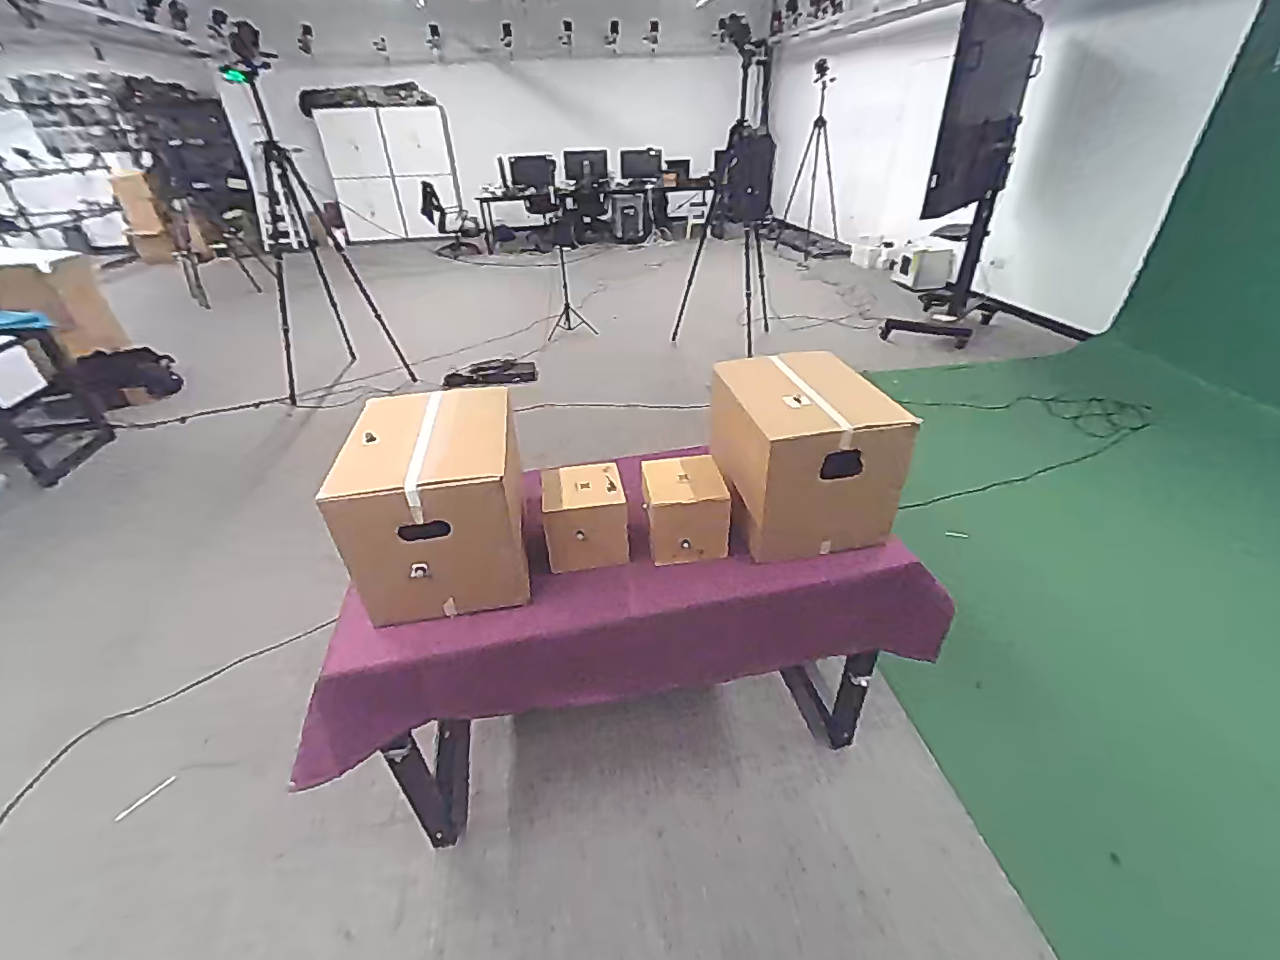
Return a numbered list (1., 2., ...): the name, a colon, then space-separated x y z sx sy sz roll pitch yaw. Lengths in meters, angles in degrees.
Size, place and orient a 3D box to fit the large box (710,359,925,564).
1. large box: 0.376 -0.062 1.281 0.320 0.320 0.408 -7 35 -7
